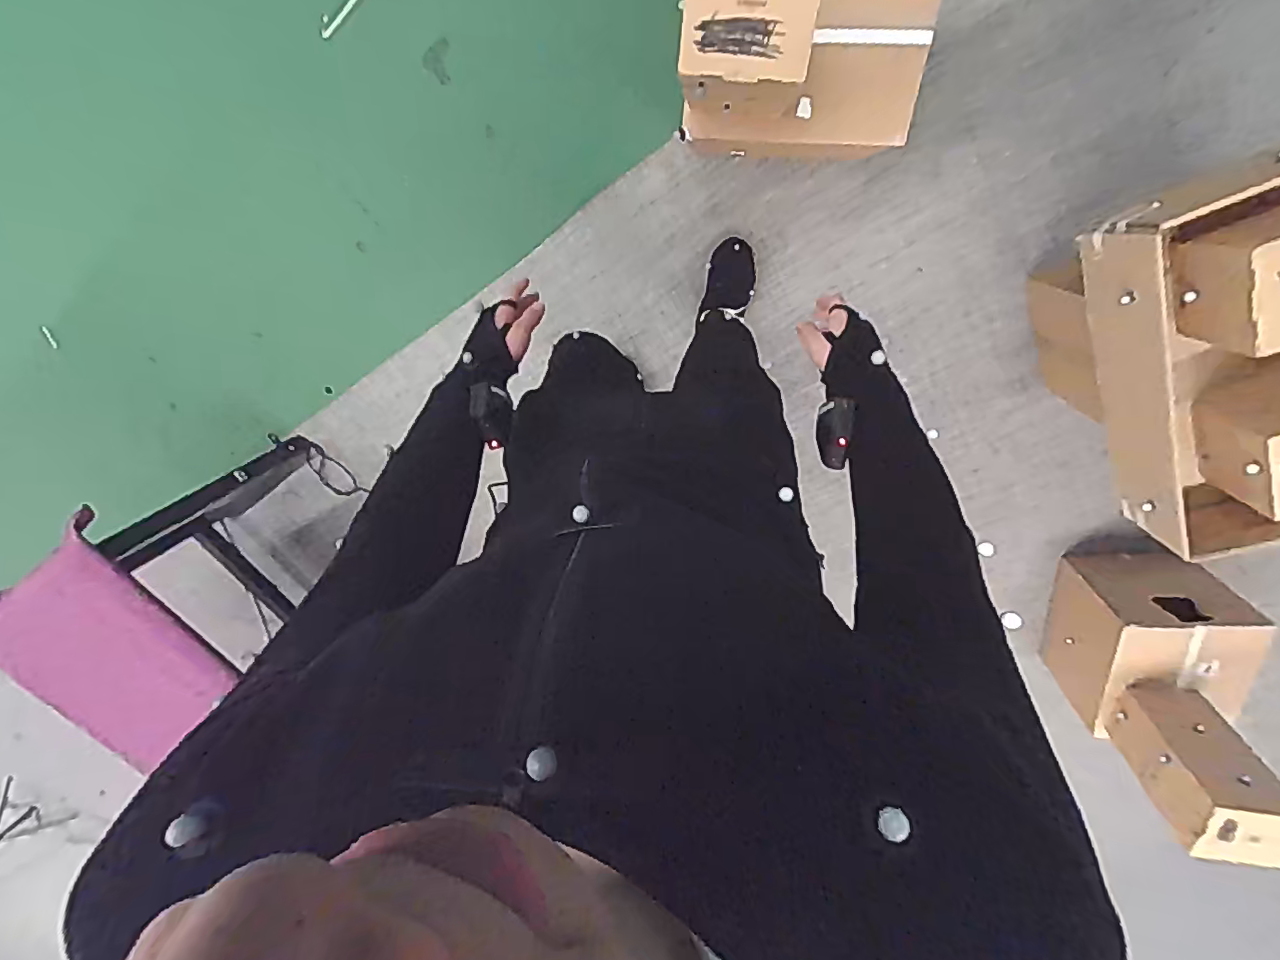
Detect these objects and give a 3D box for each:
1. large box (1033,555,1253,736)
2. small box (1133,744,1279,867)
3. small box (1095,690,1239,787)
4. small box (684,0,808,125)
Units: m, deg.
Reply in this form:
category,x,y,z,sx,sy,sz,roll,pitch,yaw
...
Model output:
category,x,y,z,sx,sy,sz,roll,pitch,yaw
large box,1.379,0.468,1.537,0.320,0.320,0.408,-4,115,11
small box,1.281,0.726,1.221,0.179,0.176,0.168,2,116,9
small box,1.315,0.658,1.366,0.179,0.176,0.168,3,116,10
small box,0.165,-0.695,0.875,0.168,0.176,0.179,8,119,4
